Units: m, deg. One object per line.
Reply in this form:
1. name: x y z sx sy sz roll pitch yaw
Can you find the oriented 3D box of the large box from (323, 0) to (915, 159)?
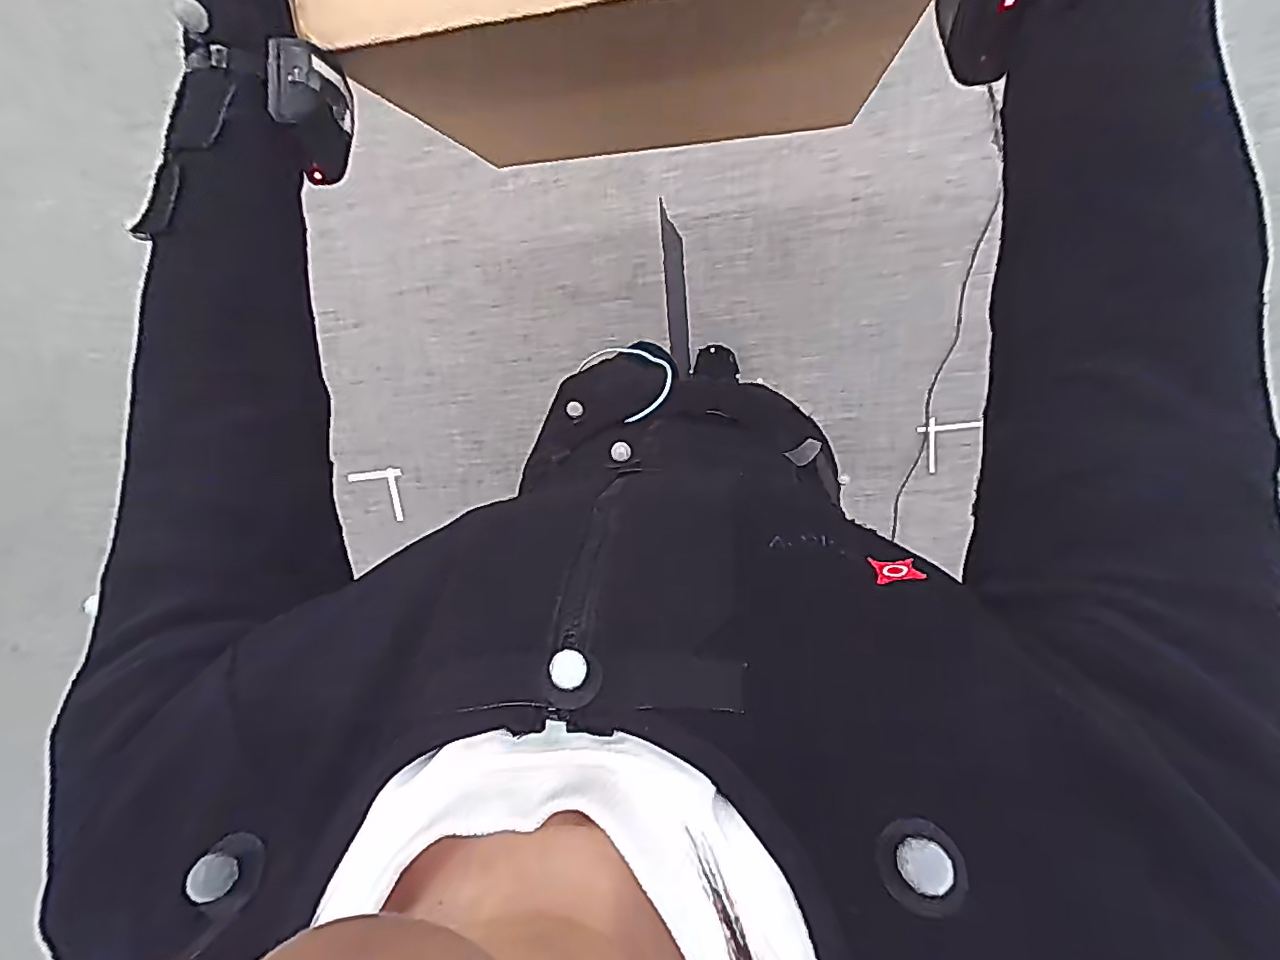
1. large box: -0.003 -0.488 0.424 0.408 0.320 0.320 -2 108 9
